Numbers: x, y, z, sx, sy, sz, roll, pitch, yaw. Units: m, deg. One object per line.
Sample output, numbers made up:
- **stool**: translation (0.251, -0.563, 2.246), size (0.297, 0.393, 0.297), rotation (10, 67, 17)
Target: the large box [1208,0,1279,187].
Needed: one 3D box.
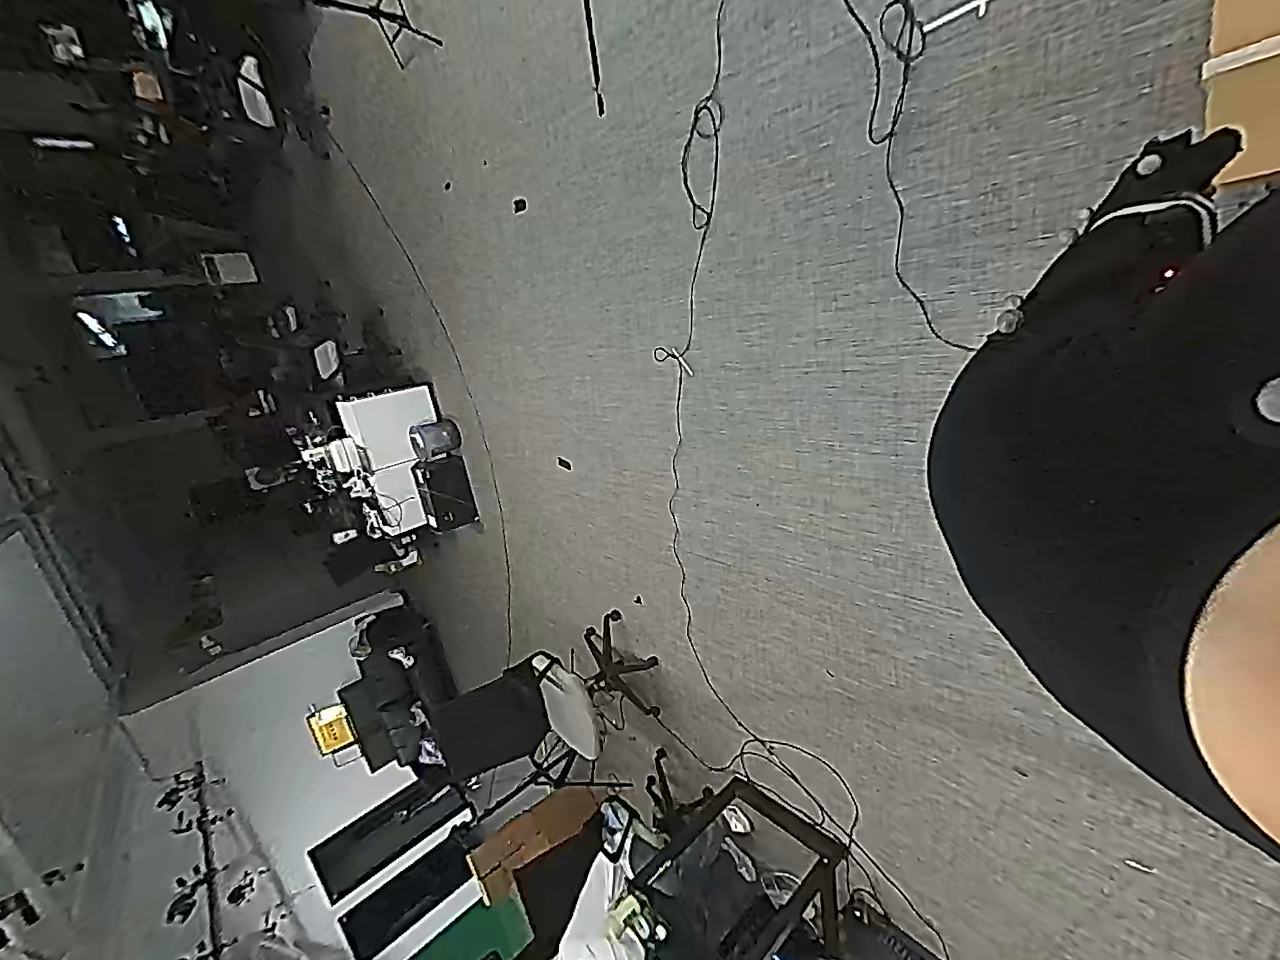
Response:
- **large box**: translation (1.032, -0.609, 0.691), size (0.408, 0.320, 0.320), rotation (7, 113, 49)
